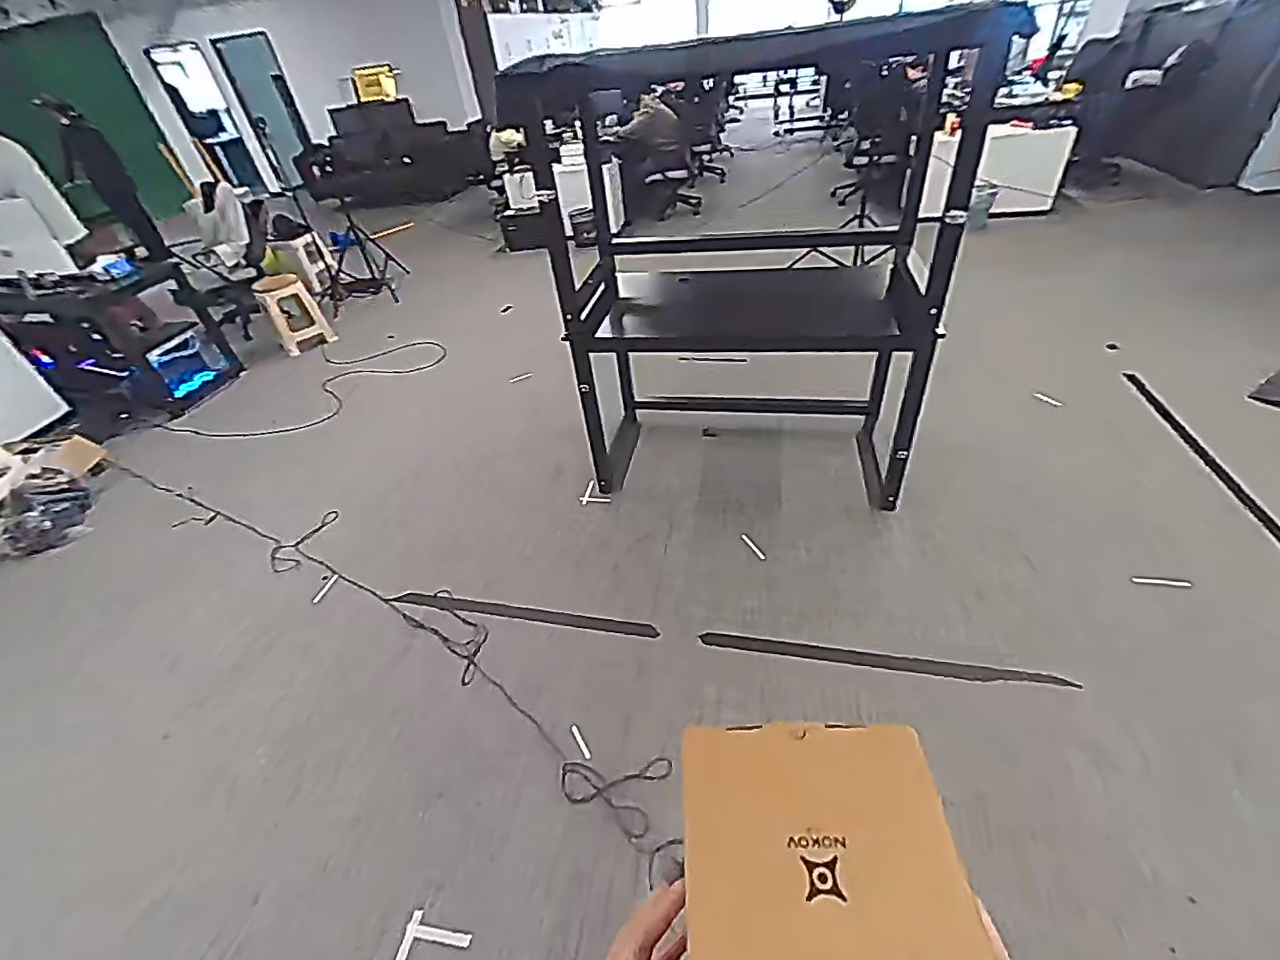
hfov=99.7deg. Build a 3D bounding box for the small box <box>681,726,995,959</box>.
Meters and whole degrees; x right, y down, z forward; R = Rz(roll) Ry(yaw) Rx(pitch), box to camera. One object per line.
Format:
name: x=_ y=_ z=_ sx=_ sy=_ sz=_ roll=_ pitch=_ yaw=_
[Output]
small box: x=0.116 y=0.296 z=0.373 sx=0.168 sy=0.176 sz=0.179 roll=-3 pitch=38 yaw=4
